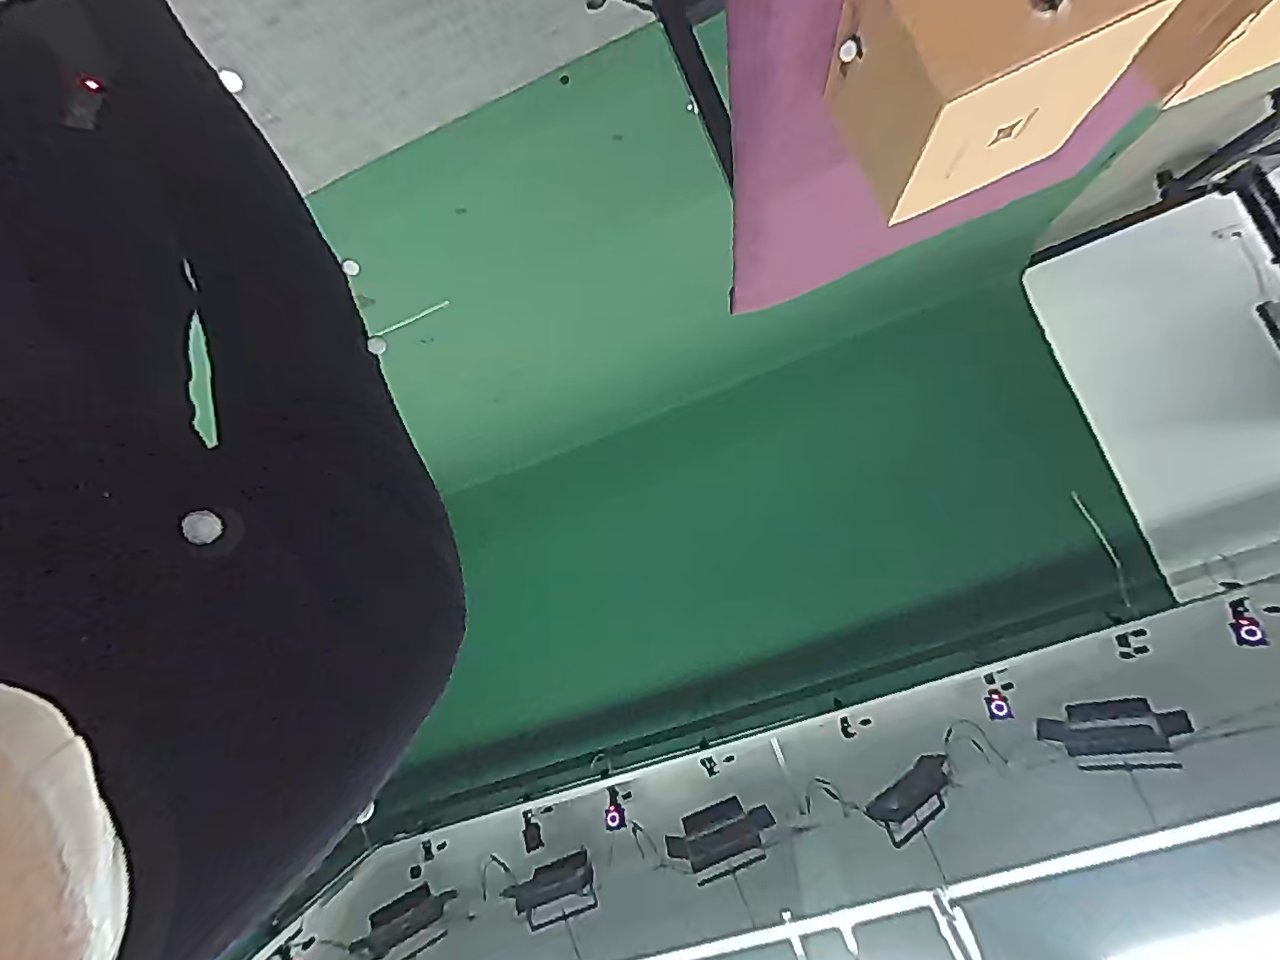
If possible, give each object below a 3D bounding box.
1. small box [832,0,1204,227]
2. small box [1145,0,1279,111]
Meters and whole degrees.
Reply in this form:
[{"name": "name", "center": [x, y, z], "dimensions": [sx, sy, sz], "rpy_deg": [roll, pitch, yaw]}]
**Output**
[{"name": "small box", "center": [0.294, -0.368, 0.468], "dimensions": [0.179, 0.176, 0.168], "rpy_deg": [-21, 171, 7]}, {"name": "small box", "center": [0.550, -0.465, 0.440], "dimensions": [0.179, 0.176, 0.168], "rpy_deg": [-20, 172, 7]}]
